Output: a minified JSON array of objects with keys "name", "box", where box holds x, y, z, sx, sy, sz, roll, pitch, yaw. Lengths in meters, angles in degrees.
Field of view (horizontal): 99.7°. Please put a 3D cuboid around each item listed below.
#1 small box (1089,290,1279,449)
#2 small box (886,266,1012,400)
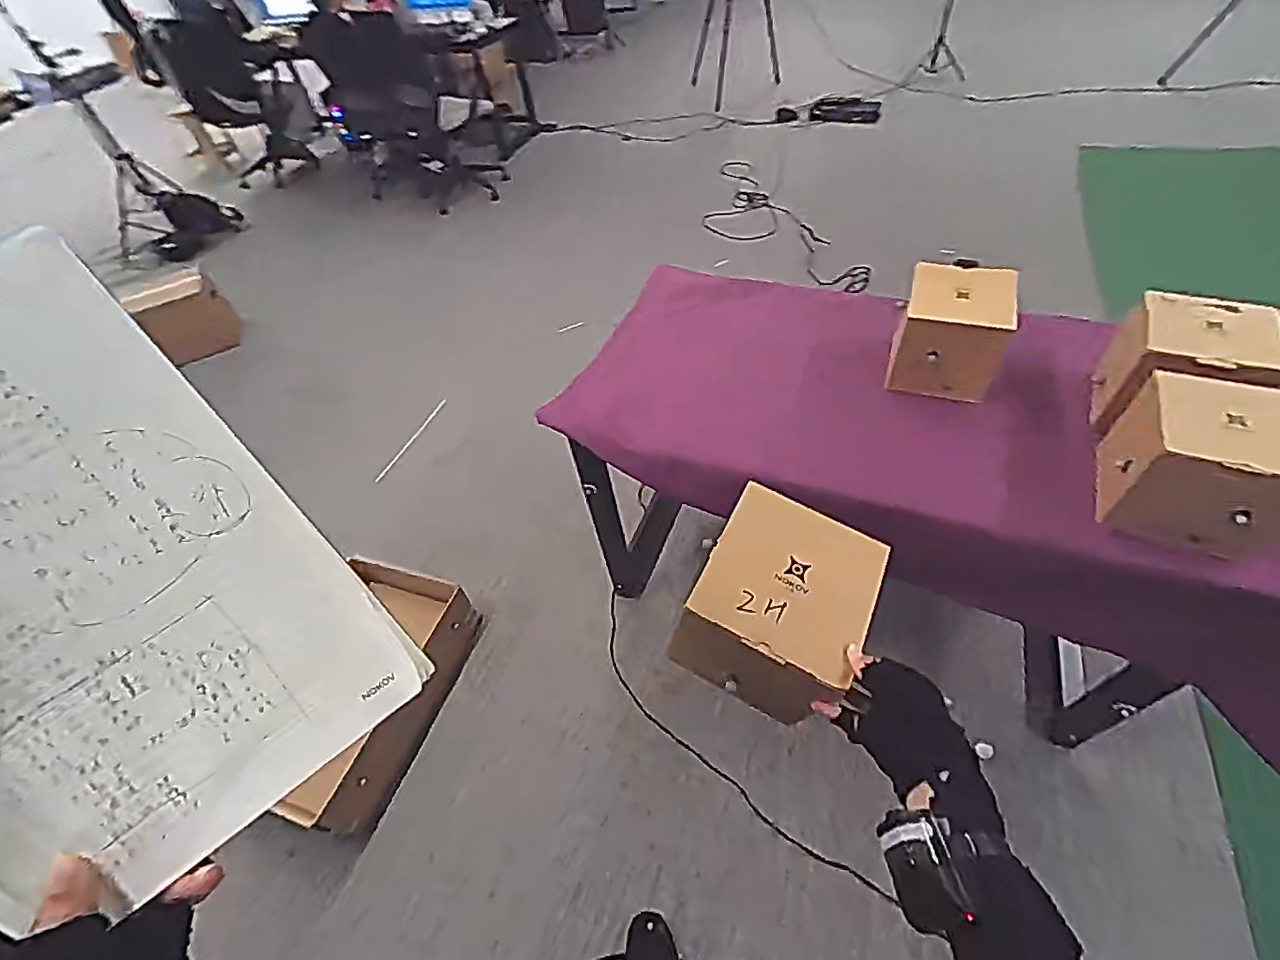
[{"name":"small box","box":[0.870,-0.178,0.879,0.168,0.176,0.179,20,56,23]},{"name":"small box","box":[0.569,-0.272,1.007,0.168,0.176,0.179,13,53,19]}]
